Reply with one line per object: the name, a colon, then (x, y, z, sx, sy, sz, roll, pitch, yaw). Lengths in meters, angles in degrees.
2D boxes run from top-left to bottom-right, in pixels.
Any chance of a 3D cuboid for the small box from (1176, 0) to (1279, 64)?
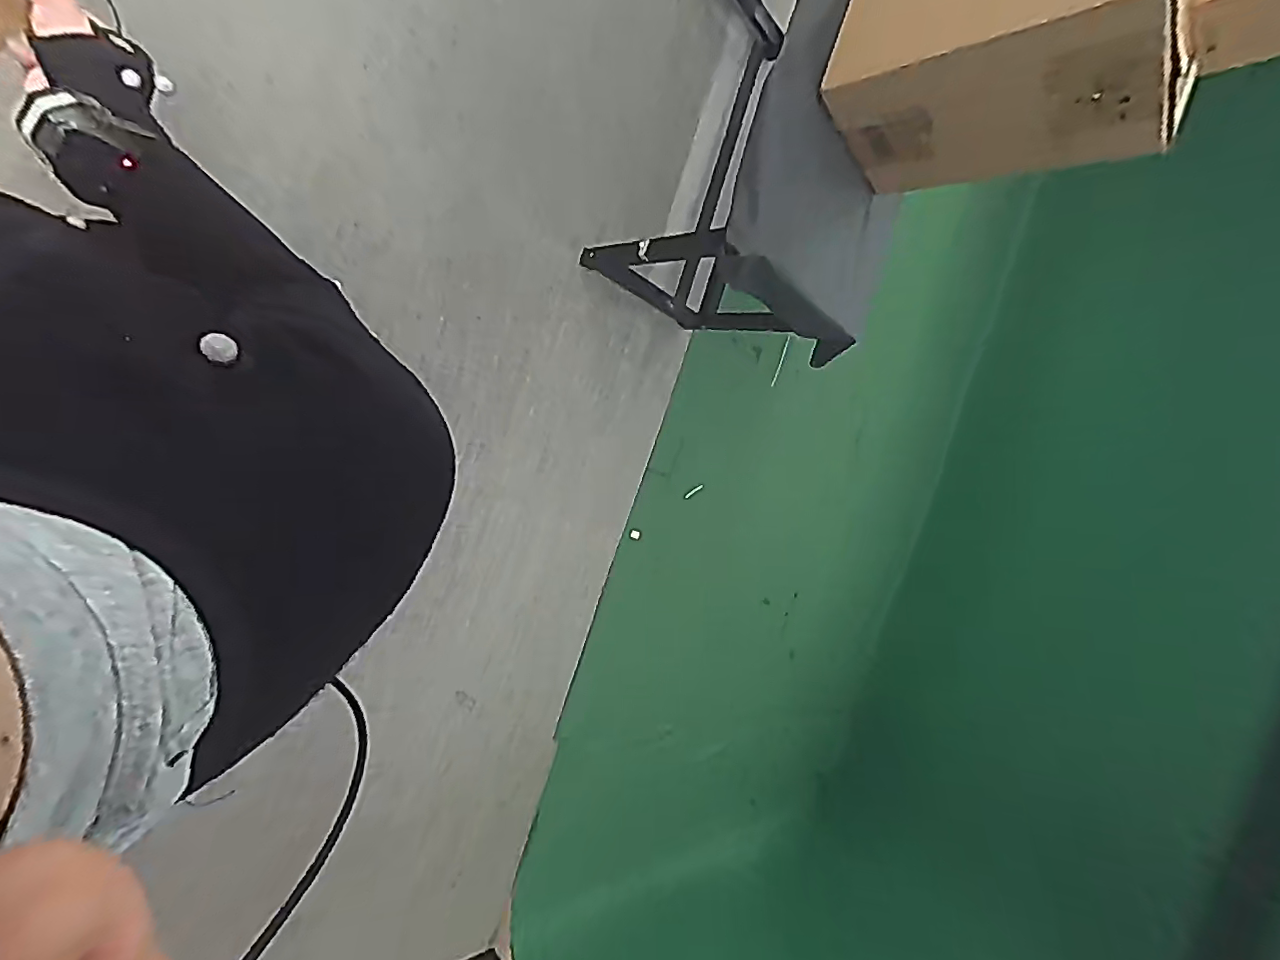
small box: (1.053, -0.878, 0.925, 0.168, 0.176, 0.179, 18, 88, -41)
